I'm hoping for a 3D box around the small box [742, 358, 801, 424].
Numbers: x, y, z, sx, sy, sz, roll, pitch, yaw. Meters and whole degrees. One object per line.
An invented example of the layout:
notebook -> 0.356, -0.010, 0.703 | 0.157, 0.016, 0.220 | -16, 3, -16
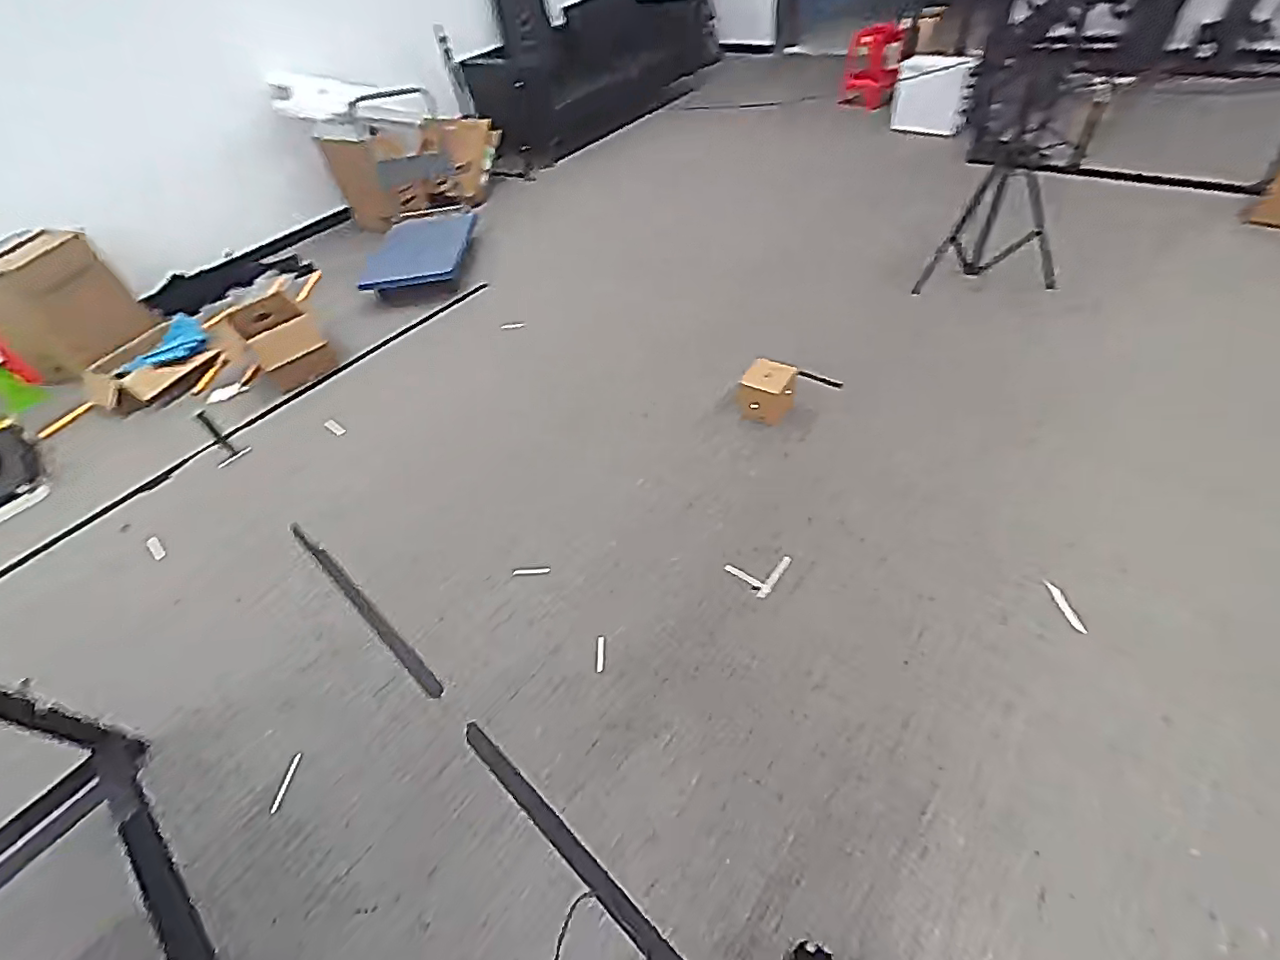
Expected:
small box -> 0.520, -0.349, 2.140 | 0.168, 0.176, 0.179 | 26, 57, 29
